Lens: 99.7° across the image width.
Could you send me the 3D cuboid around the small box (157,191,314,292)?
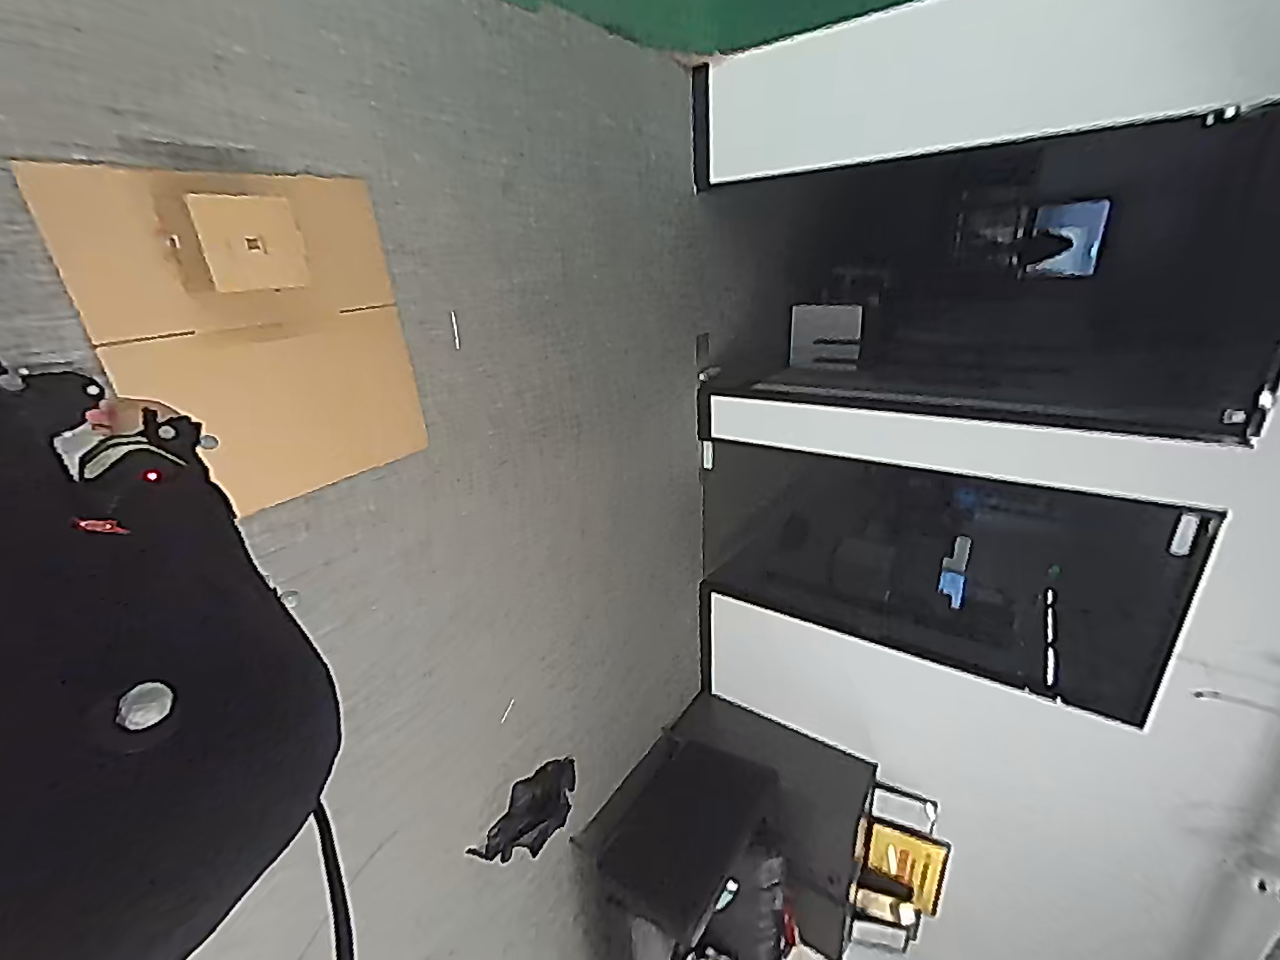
[{"bbox_3d":[-0.788,-0.461,1.059,0.179,0.176,0.168,-31,124,-47],"label":"small box"}]
